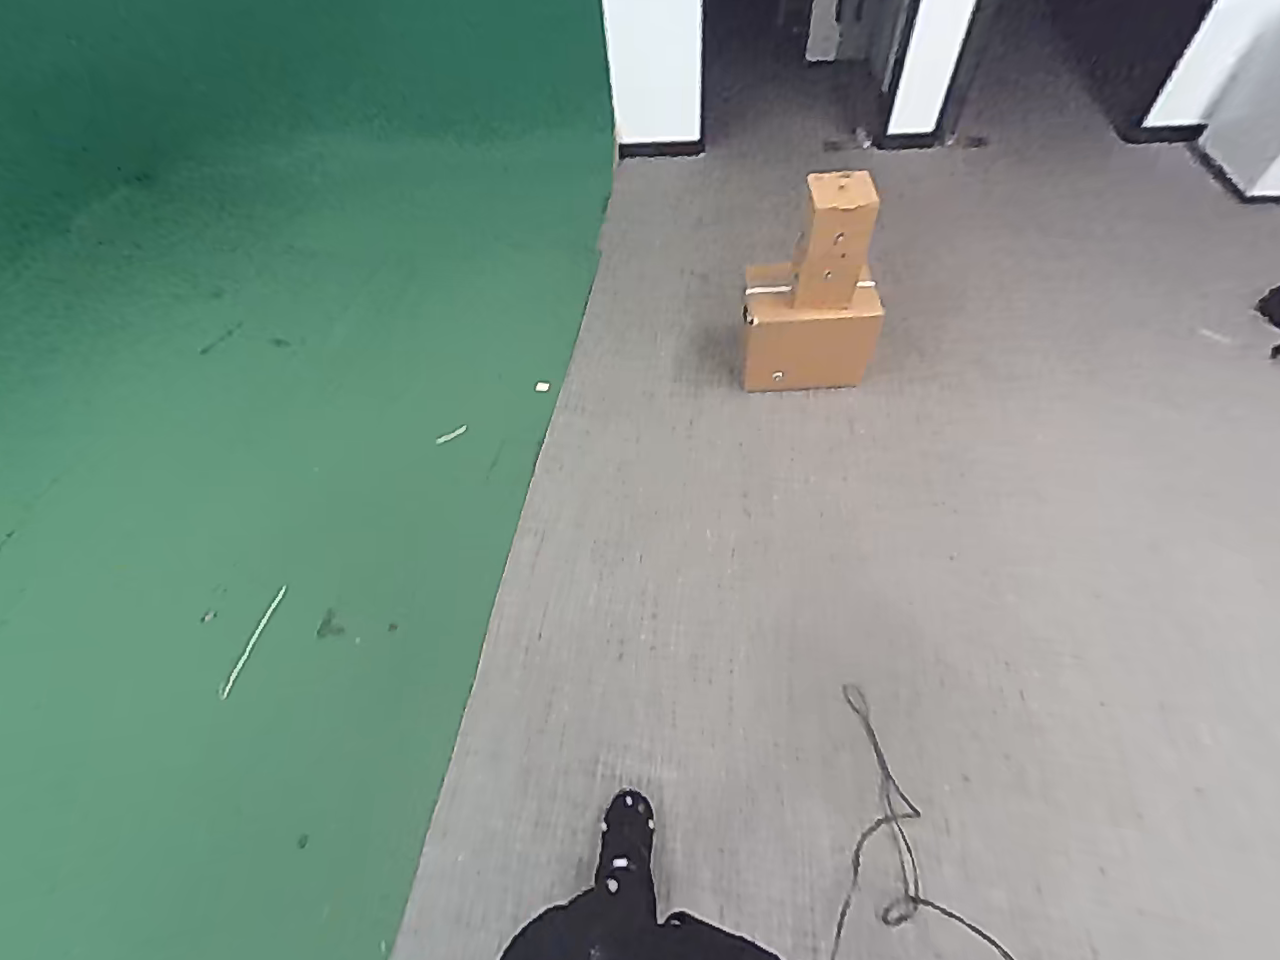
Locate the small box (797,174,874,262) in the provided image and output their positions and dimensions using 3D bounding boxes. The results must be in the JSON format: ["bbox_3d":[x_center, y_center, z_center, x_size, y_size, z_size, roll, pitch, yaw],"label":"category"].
[{"bbox_3d":[0.548,-0.737,1.536,0.168,0.176,0.179,0,56,5],"label":"small box"}]

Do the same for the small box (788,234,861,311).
[{"bbox_3d":[0.559,-0.640,1.667,0.179,0.176,0.168,1,56,5],"label":"small box"}]
